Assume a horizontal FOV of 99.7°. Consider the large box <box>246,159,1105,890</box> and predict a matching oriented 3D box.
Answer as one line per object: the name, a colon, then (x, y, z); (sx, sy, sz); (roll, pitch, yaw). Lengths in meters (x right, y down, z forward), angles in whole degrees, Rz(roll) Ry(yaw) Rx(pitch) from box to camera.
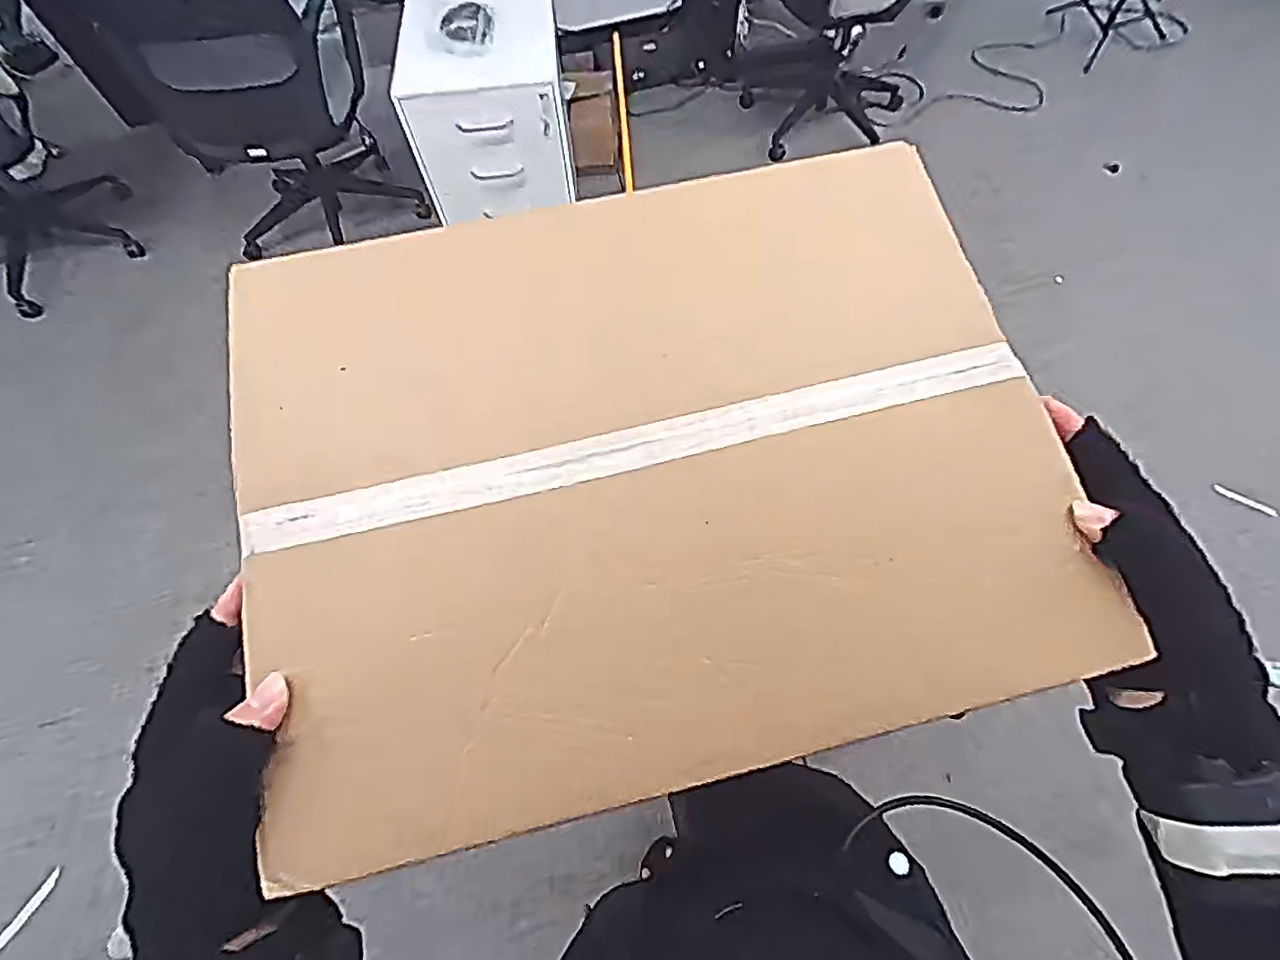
large box: (0.003, 0.027, 0.430); (0.408, 0.320, 0.320); (-14, 74, -4)
